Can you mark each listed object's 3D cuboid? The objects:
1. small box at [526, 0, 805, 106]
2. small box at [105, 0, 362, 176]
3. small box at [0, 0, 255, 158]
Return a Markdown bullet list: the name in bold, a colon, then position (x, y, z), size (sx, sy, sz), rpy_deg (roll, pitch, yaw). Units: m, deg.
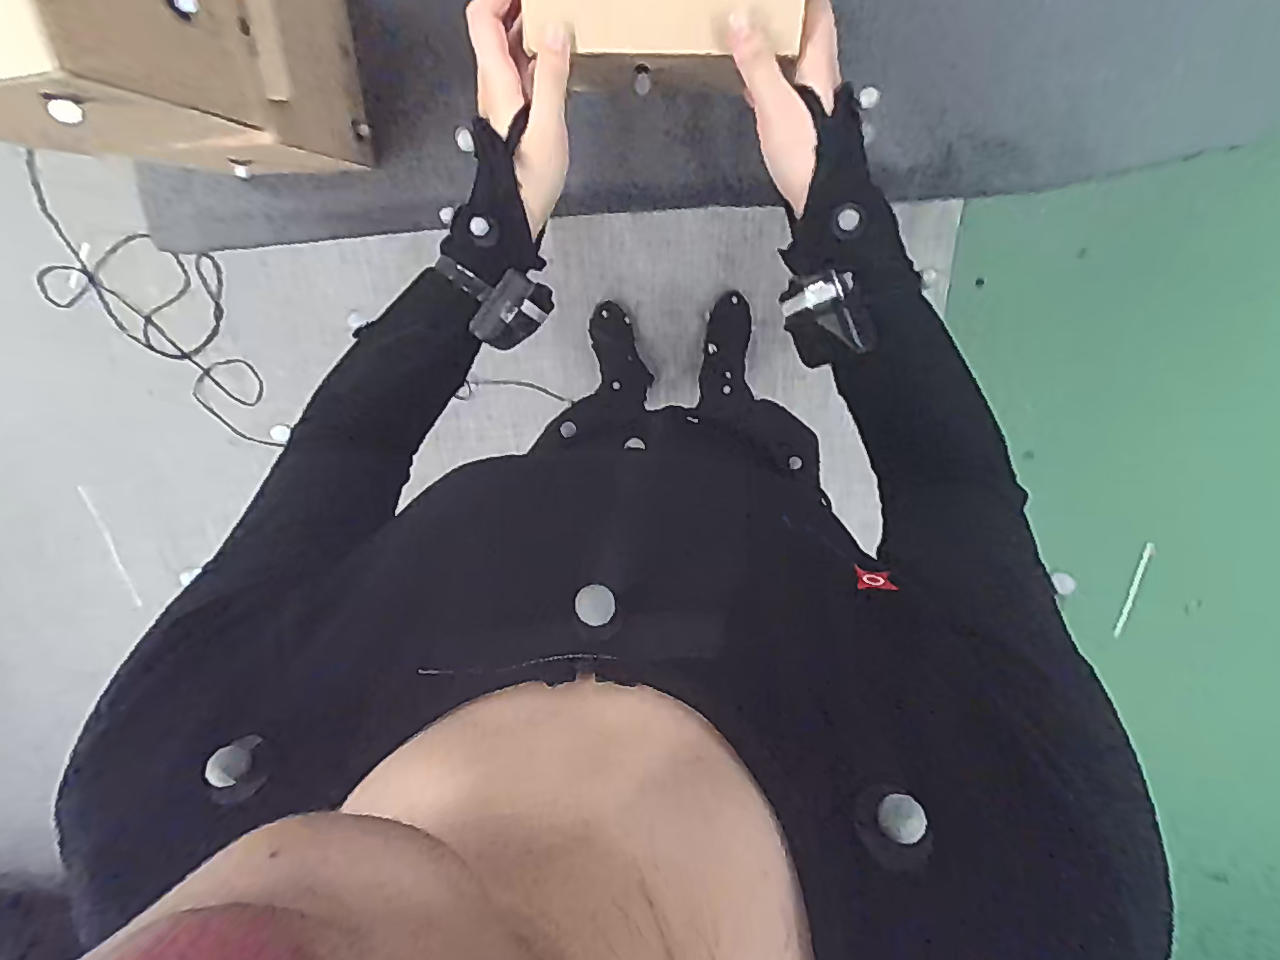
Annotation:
- **small box**: position (0.023, -0.377, 0.383), size (0.179, 0.176, 0.168), rpy_deg (4, 118, 3)
- **small box**: position (-0.395, -0.395, 0.517), size (0.179, 0.176, 0.168), rpy_deg (0, 113, 5)
- **small box**: position (-0.423, -0.333, 0.368), size (0.179, 0.176, 0.168), rpy_deg (-4, 113, 6)
